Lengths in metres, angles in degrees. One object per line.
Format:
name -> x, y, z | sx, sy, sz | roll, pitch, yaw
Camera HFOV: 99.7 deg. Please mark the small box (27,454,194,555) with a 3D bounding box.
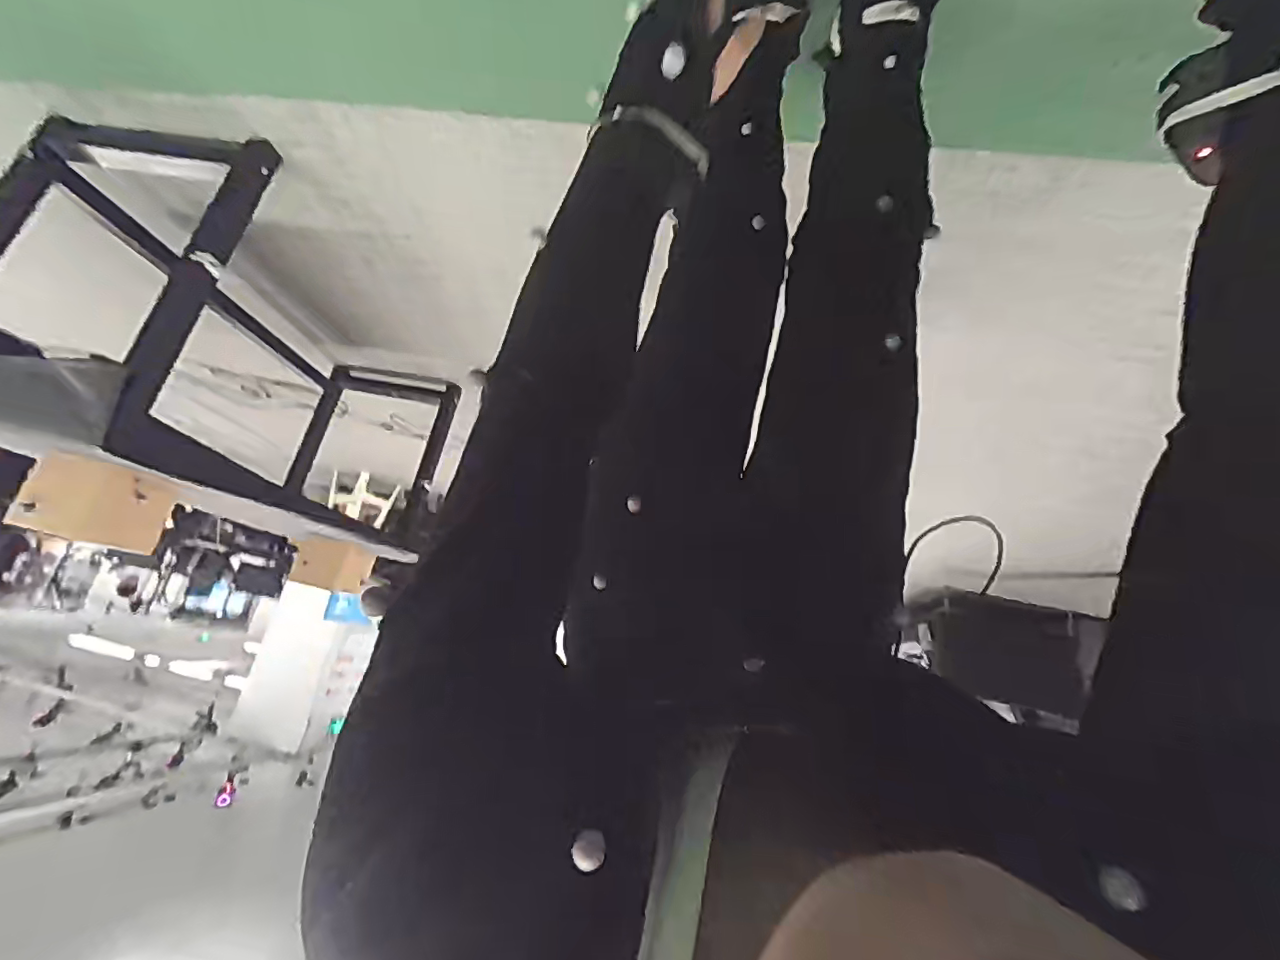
small box -> -1.144, 0.053, 1.186 | 0.179, 0.176, 0.168 | 11, 164, 10
